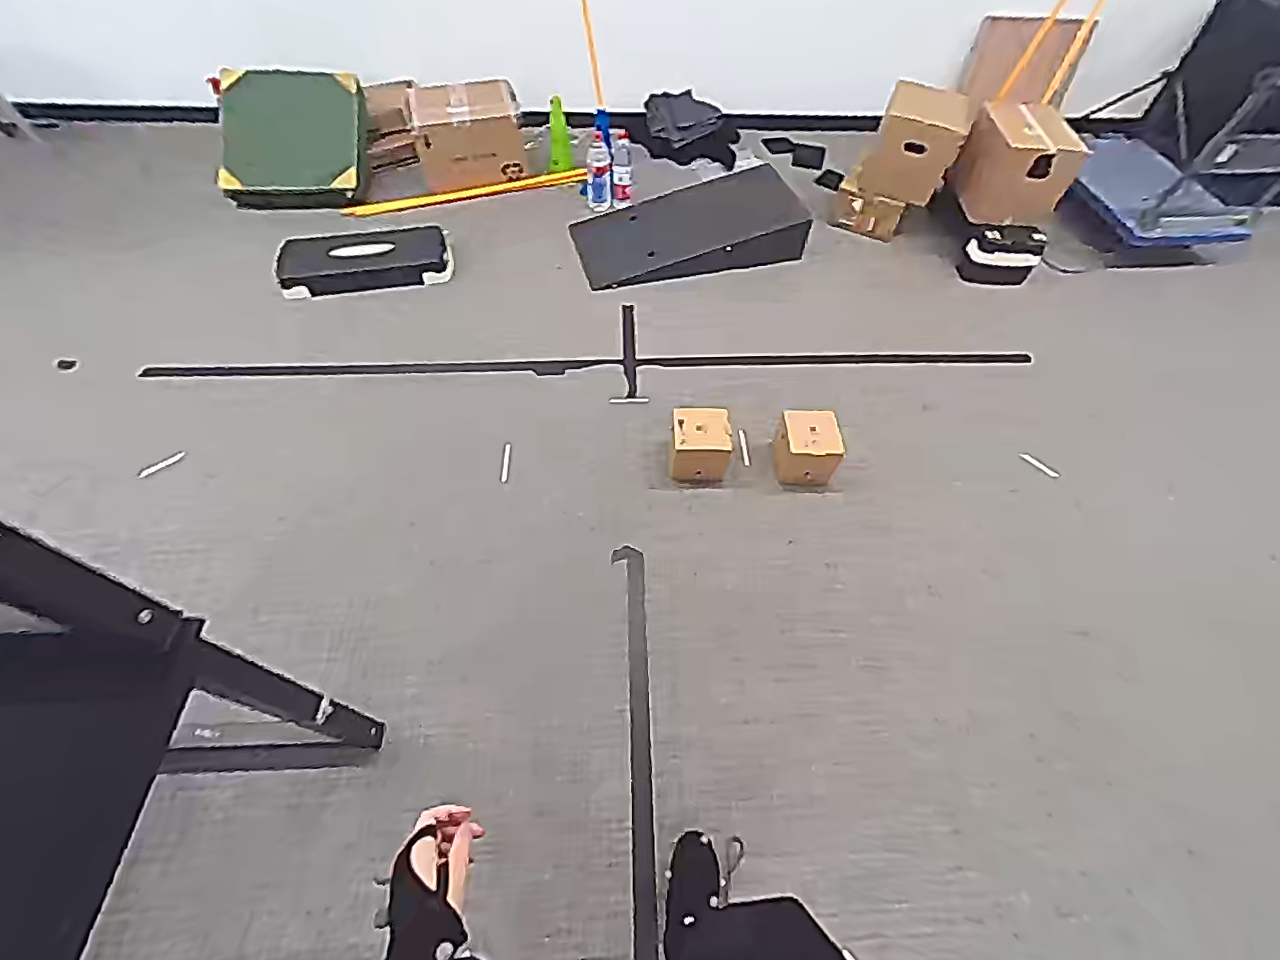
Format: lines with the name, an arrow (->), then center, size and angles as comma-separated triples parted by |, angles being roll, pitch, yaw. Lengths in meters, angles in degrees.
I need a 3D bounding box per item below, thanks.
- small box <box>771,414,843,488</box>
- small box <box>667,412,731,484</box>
small box -> 0.532, -0.093, 1.747 | 0.168, 0.176, 0.179 | 1, 56, -2
small box -> 0.184, -0.098, 1.735 | 0.179, 0.176, 0.168 | 1, 55, -3
